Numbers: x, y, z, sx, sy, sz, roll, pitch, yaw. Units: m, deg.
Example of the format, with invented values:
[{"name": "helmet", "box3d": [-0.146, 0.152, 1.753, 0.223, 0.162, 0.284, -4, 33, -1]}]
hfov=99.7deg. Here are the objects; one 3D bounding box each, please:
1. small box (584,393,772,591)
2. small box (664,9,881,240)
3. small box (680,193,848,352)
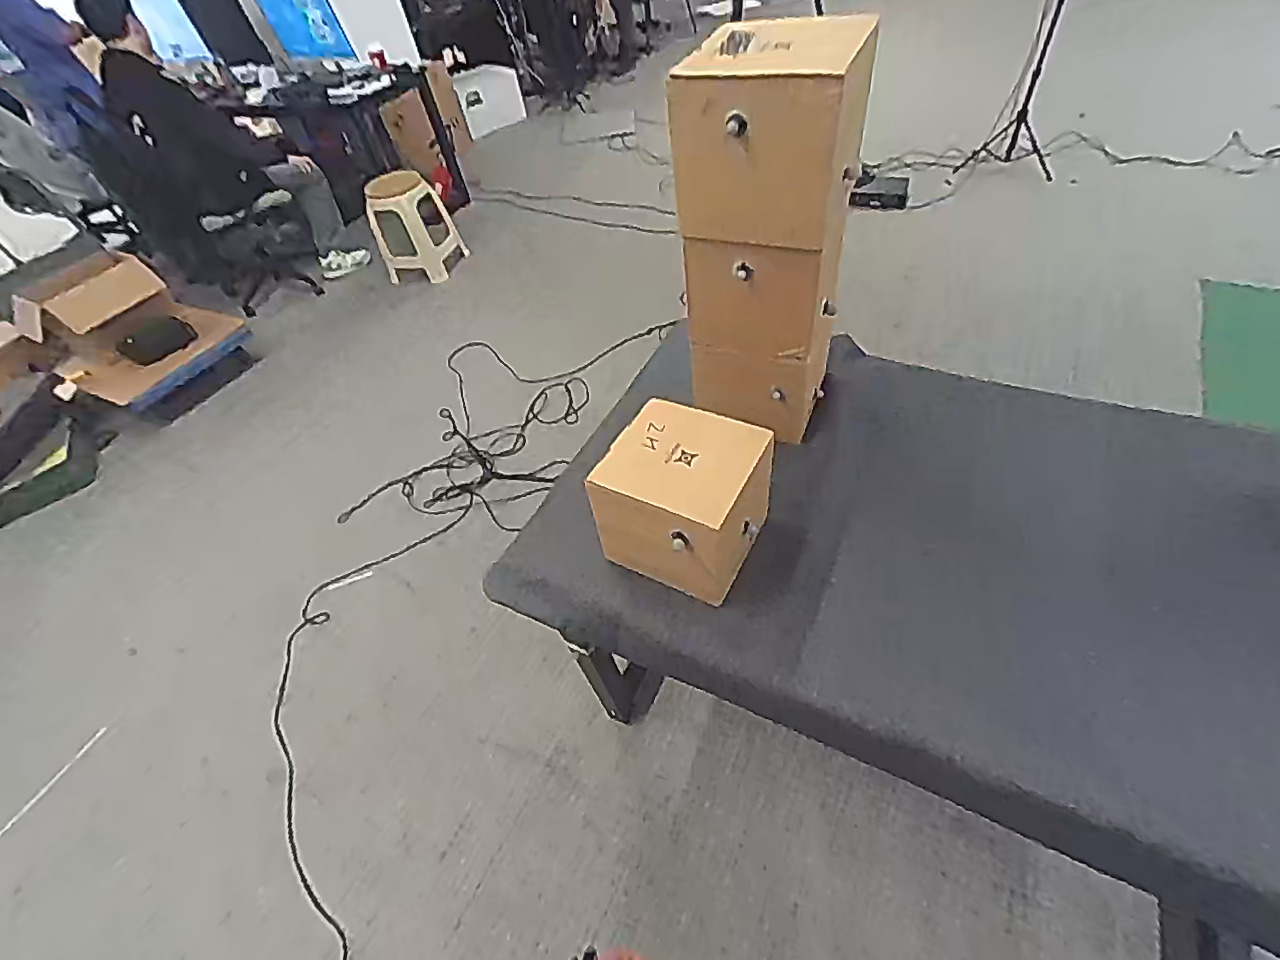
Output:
[{"name": "small box", "box3d": [0.055, 0.019, 0.703, 0.179, 0.176, 0.168, 20, 54, 24]}, {"name": "small box", "box3d": [0.145, -0.391, 0.603, 0.179, 0.176, 0.168, 17, 58, 21]}, {"name": "small box", "box3d": [0.168, -0.297, 0.736, 0.179, 0.176, 0.168, 15, 57, 20]}]
